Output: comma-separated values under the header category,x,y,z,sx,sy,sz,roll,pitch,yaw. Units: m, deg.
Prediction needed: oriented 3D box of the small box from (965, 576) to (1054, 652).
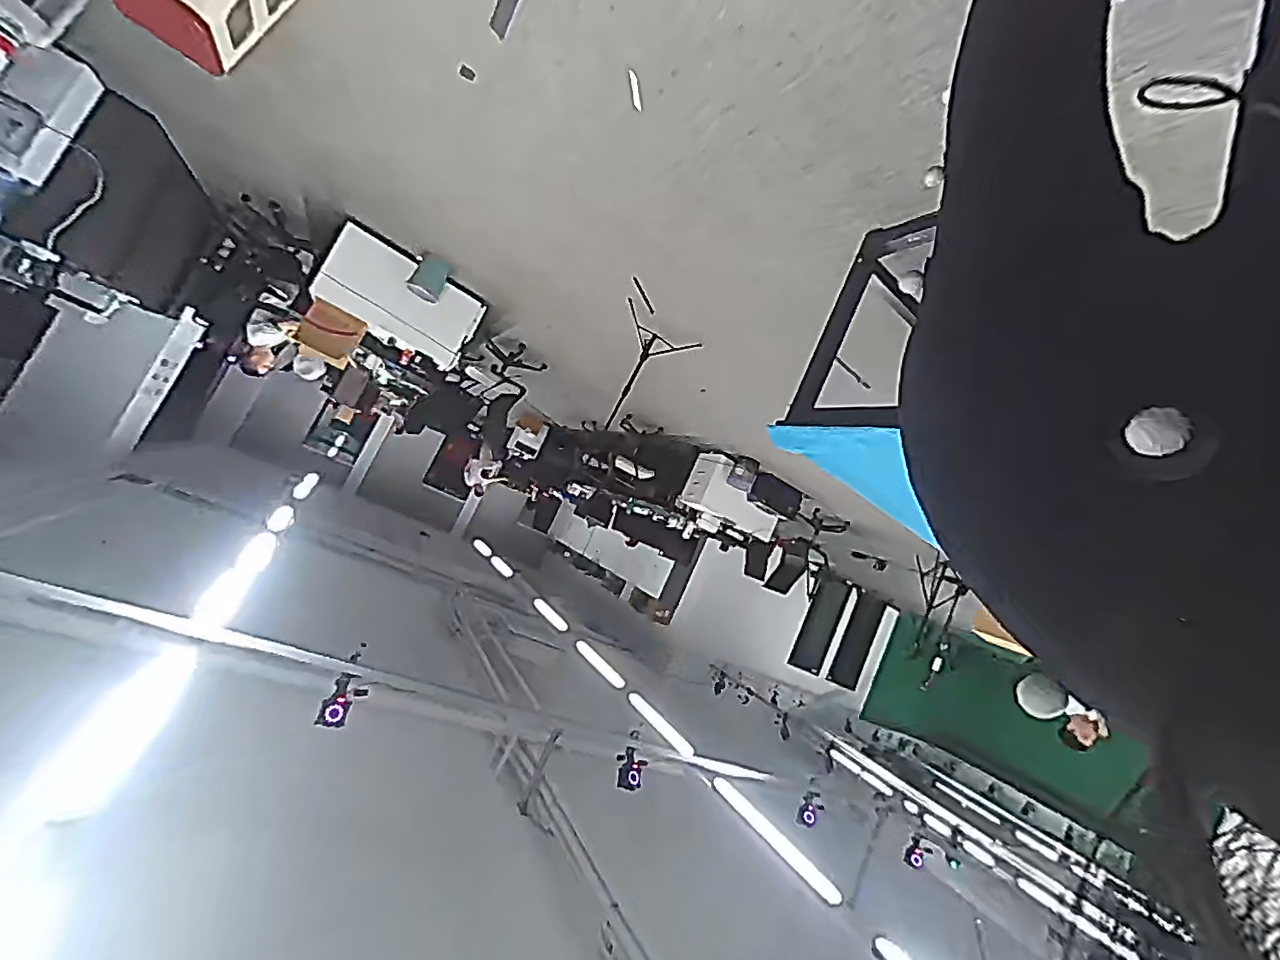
category,x,y,z,sx,sy,sz,roll,pitch,yaw
small box,1.174,0.429,1.719,0.168,0.176,0.179,30,169,-36
